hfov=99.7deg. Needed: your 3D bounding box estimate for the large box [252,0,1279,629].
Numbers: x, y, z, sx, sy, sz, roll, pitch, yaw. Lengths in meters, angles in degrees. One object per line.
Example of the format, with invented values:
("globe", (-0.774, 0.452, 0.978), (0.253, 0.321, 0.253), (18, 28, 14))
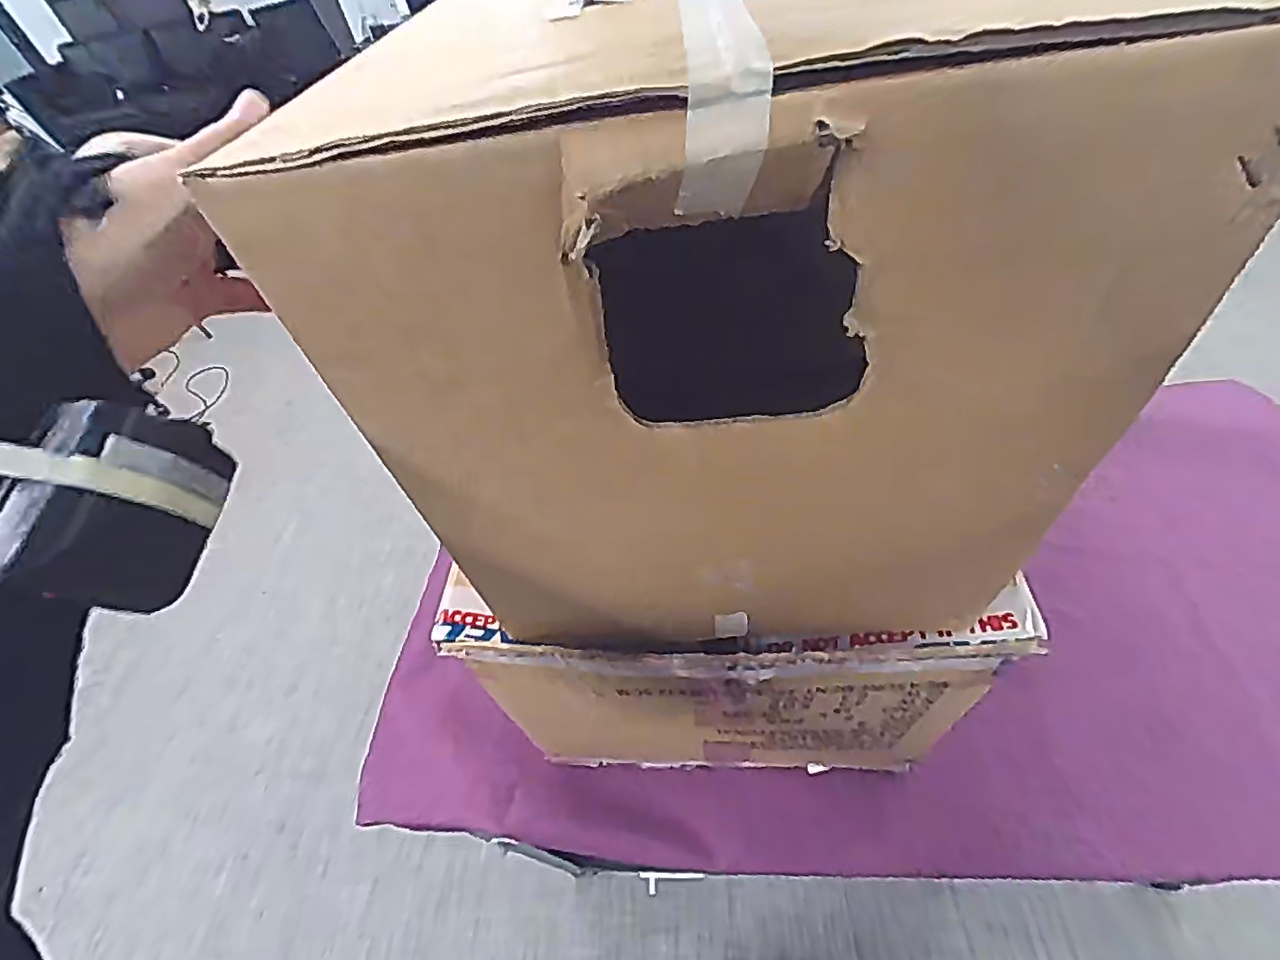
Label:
("large box", (0.052, -0.150, 0.383), (0.320, 0.320, 0.408), (-5, 50, 7))
